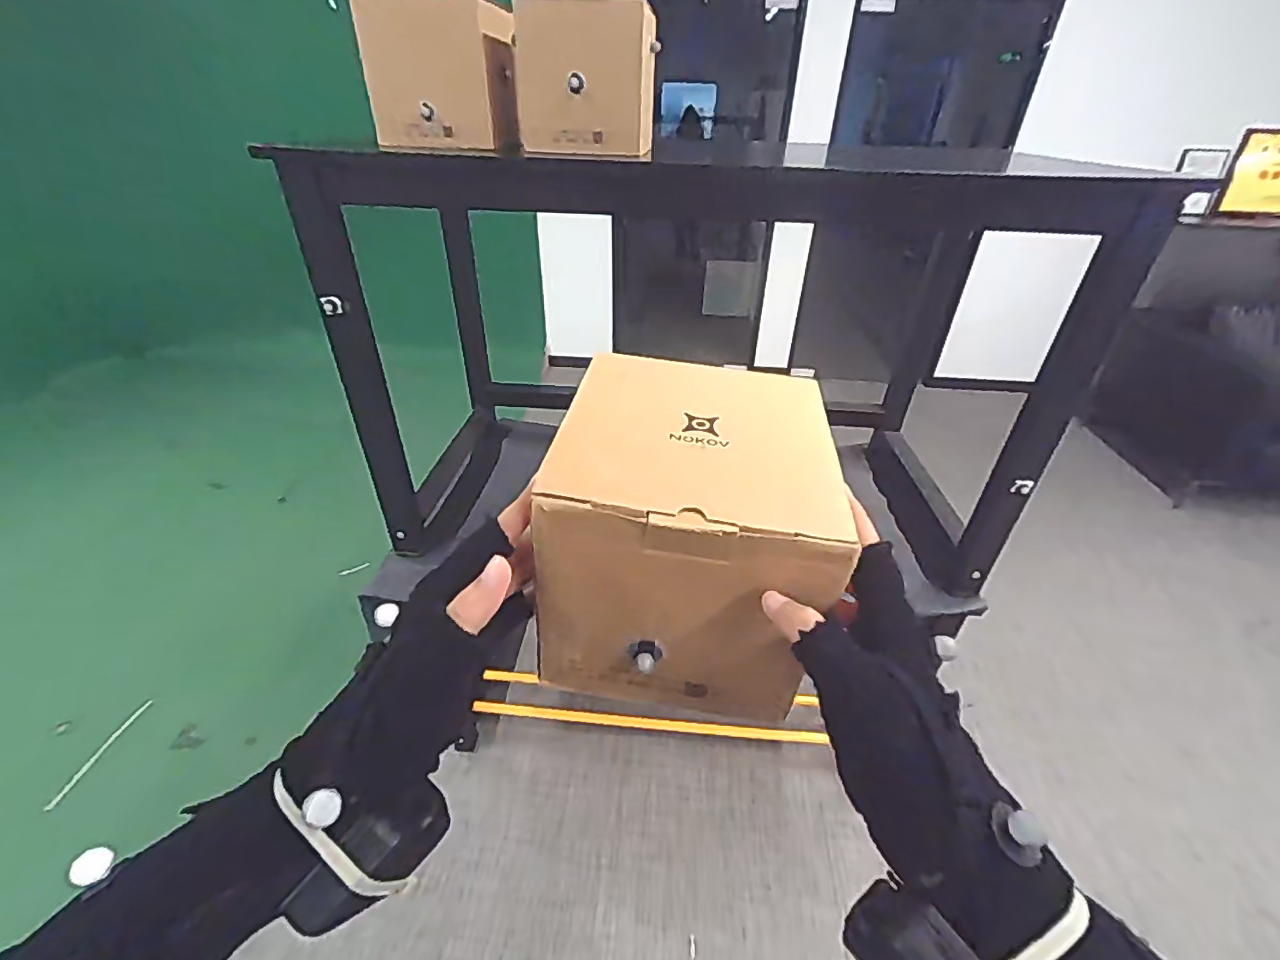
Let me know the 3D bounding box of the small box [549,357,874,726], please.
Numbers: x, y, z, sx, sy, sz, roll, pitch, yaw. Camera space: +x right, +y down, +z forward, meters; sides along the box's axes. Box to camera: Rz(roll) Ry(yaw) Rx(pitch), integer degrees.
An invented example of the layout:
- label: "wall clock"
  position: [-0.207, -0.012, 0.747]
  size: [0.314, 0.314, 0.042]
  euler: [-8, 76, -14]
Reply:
- label: "small box"
  position: [0.036, 0.036, 0.378]
  size: [0.168, 0.176, 0.179]
  euler: [8, 38, 3]

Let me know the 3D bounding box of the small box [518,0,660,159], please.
- label: "small box"
  position: [-0.062, -0.558, 0.766]
  size: [0.168, 0.176, 0.179]
  euler: [5, 34, 3]
